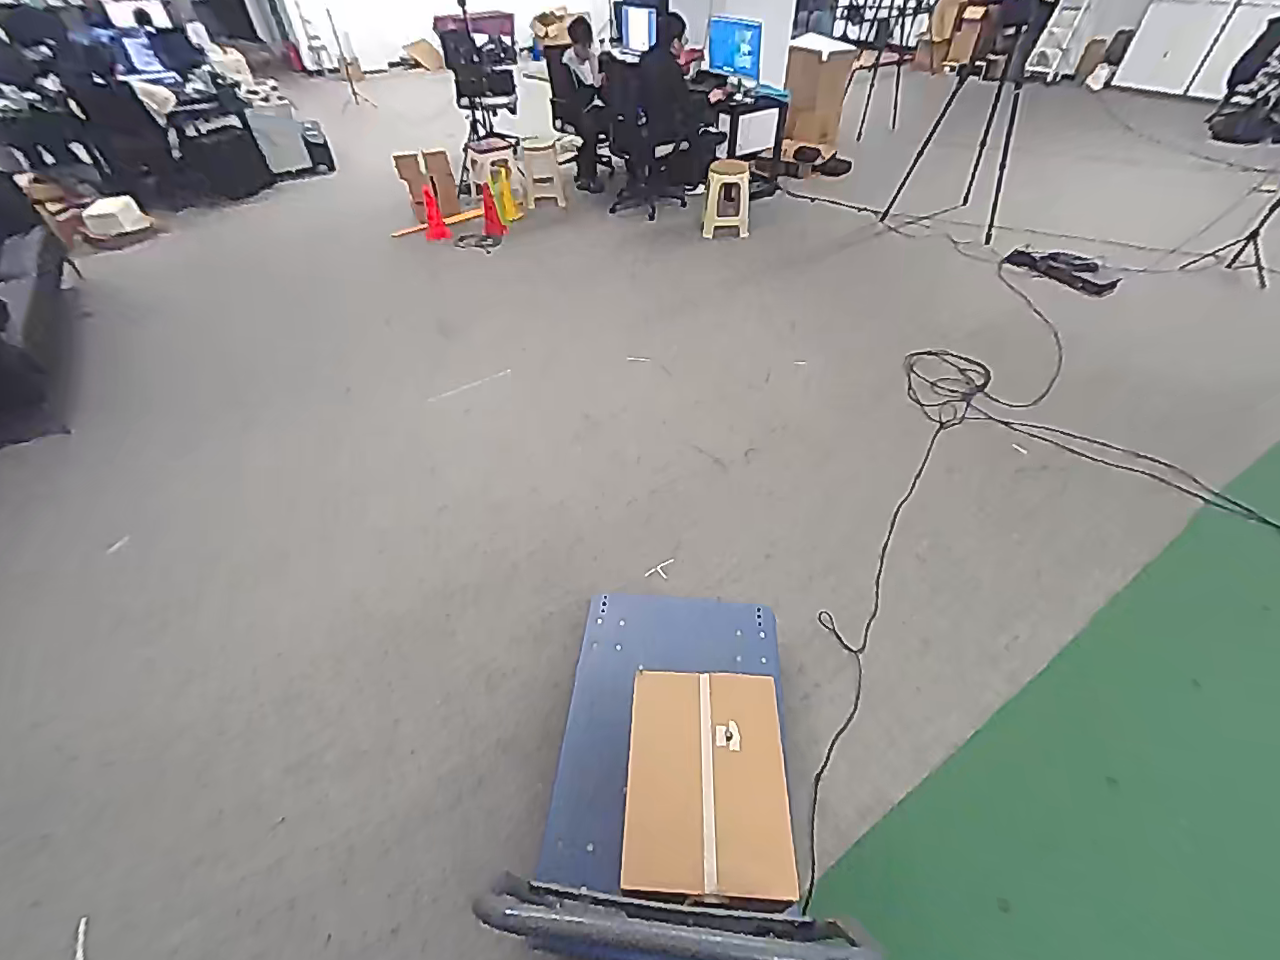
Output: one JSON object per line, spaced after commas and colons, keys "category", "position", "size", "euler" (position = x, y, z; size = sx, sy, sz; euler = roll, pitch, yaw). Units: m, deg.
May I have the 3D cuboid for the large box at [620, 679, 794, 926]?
{"category": "large box", "position": [0.131, 0.706, 1.195], "size": [0.320, 0.320, 0.408], "euler": [2, 44, 3]}
